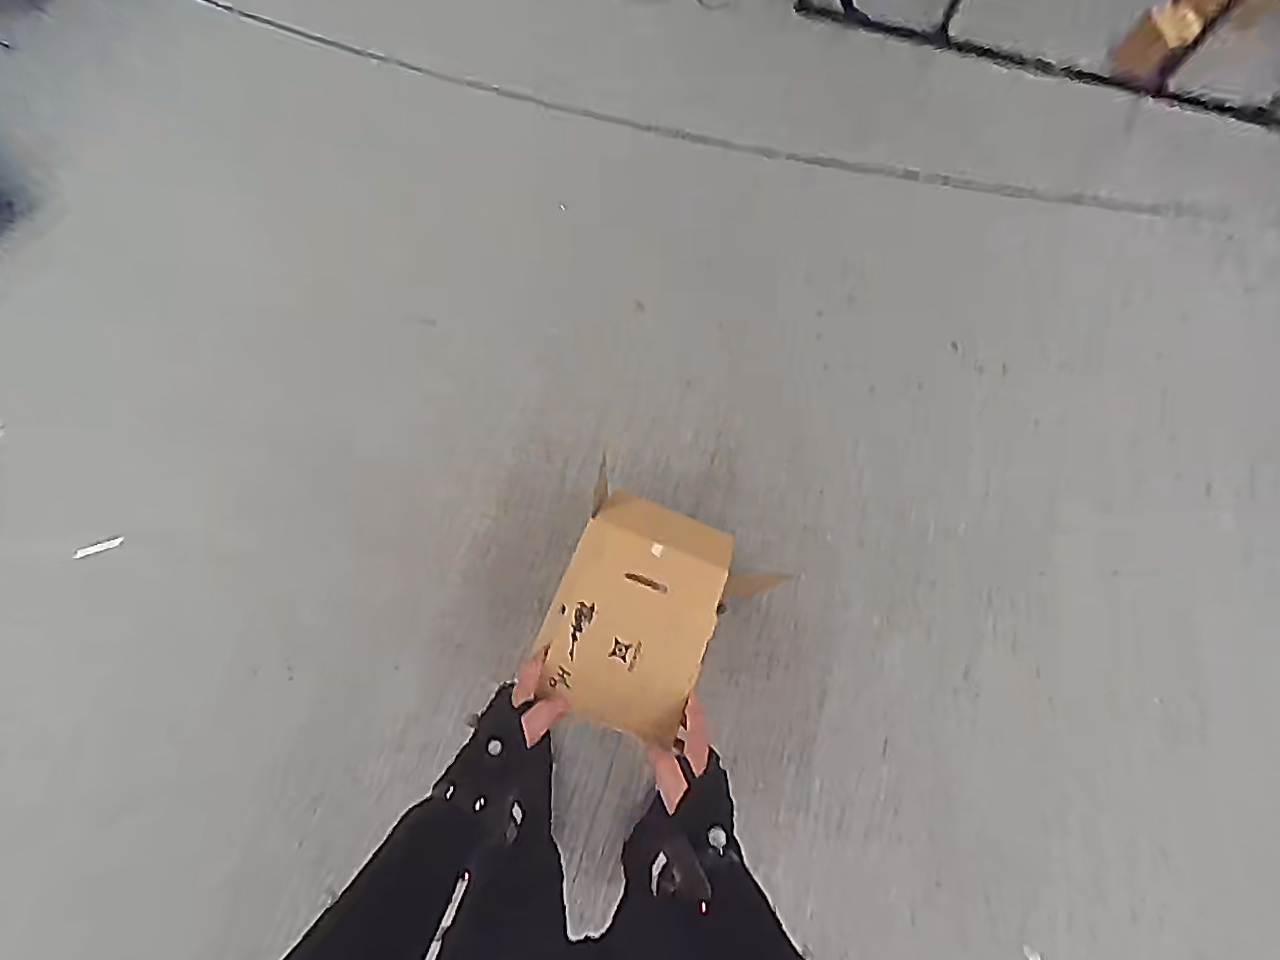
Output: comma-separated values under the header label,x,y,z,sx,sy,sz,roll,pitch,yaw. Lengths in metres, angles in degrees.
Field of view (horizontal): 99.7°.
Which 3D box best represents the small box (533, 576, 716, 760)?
label,x,y,z,sx,sy,sz,roll,pitch,yaw
small box,-0.020,0.235,0.720,0.179,0.176,0.168,22,78,2
